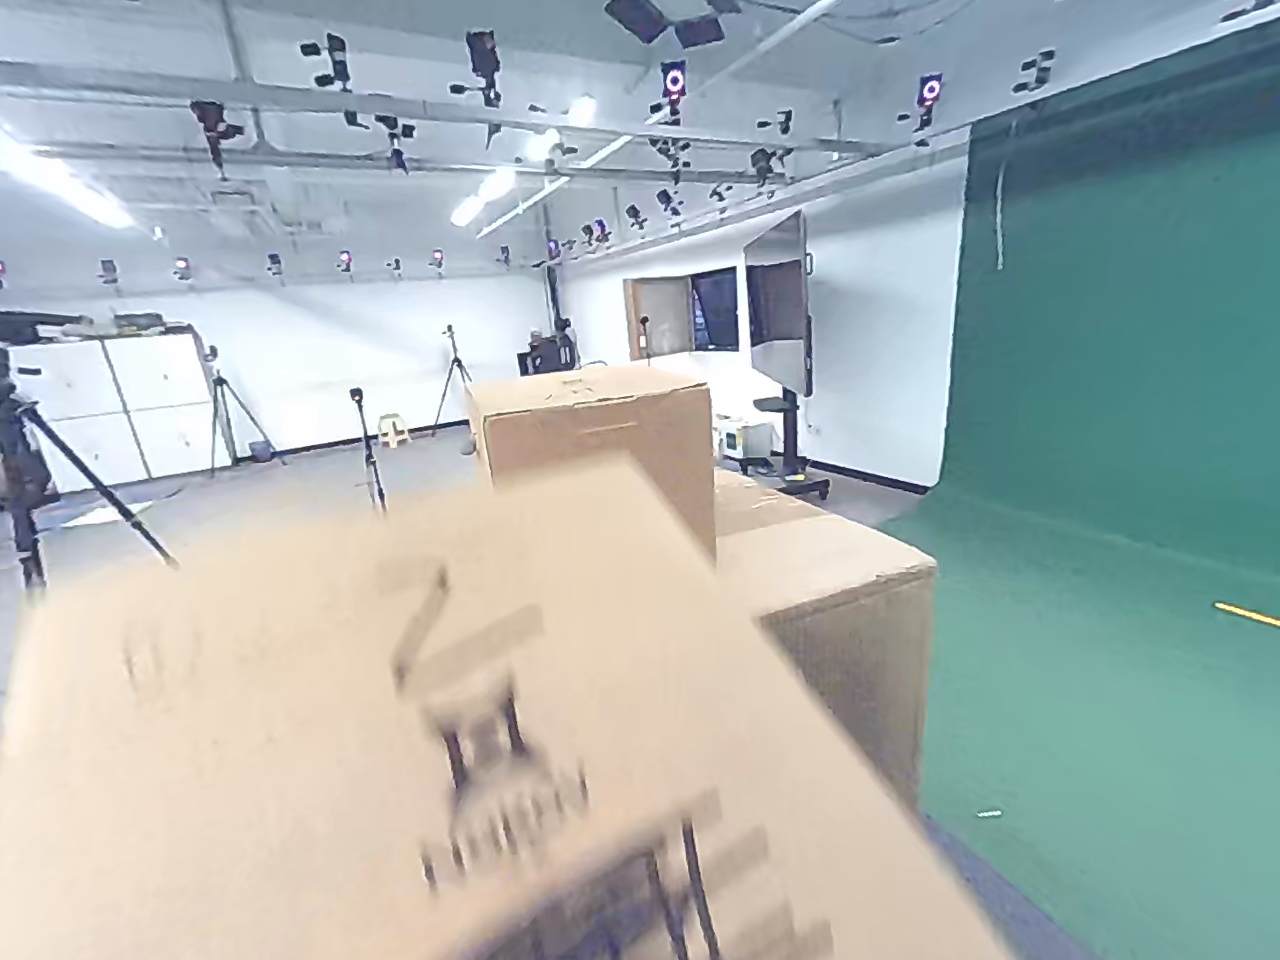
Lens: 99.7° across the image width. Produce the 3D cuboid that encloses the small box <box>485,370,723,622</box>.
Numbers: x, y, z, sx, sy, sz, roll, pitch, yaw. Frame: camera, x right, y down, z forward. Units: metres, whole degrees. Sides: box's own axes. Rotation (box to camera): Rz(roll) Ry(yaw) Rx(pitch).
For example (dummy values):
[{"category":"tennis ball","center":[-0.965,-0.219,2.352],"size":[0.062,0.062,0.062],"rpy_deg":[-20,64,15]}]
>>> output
[{"category":"small box","center":[-0.038,0.000,0.484],"size":[0.168,0.176,0.179],"rpy_deg":[-11,20,-19]}]
